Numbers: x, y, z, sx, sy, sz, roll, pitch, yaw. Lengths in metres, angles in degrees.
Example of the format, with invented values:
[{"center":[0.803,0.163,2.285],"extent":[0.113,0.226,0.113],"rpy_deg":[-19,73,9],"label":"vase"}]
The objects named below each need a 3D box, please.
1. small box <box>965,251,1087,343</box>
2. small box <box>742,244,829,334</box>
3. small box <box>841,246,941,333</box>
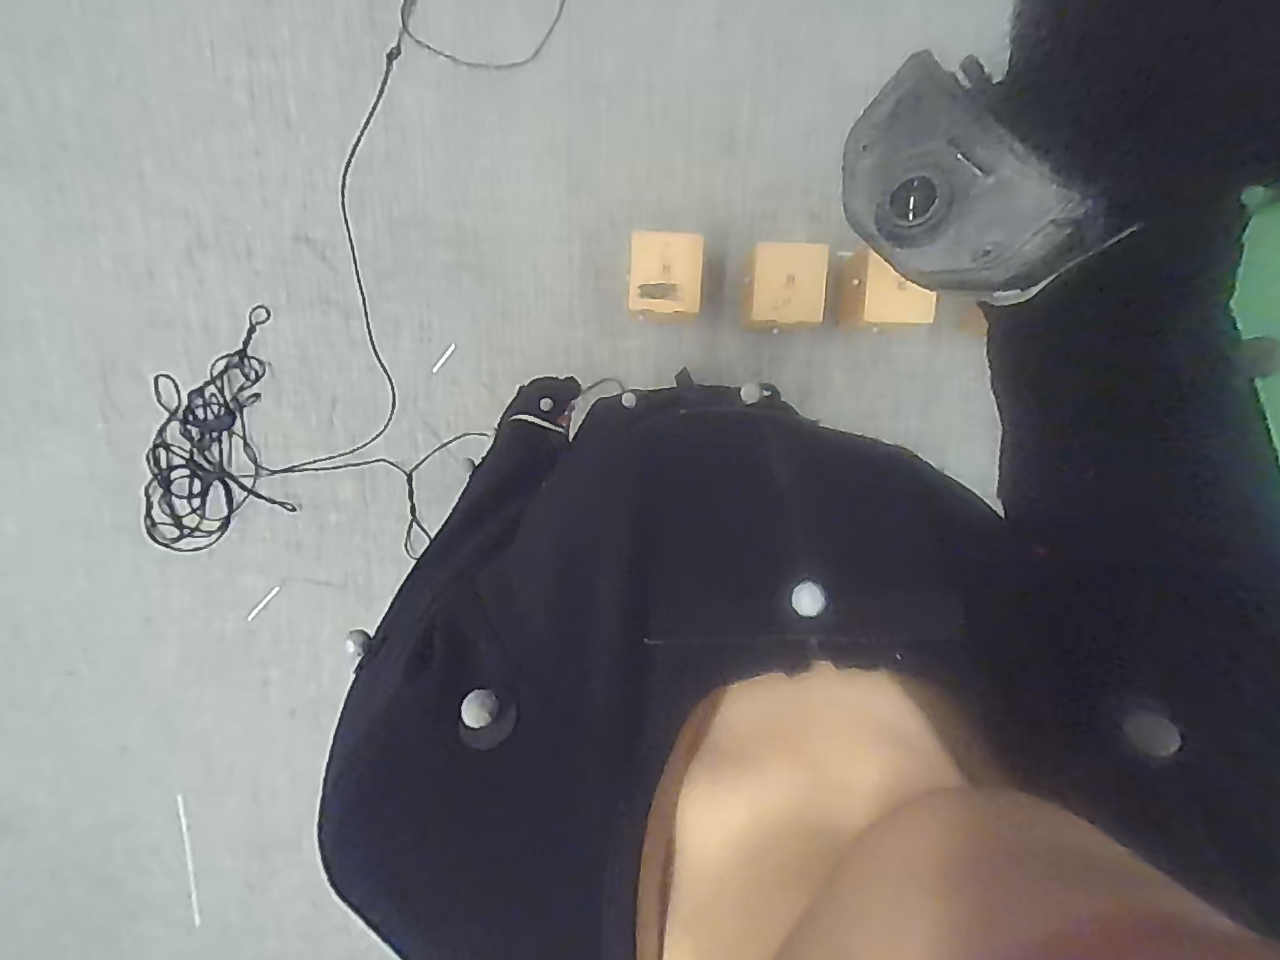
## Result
[{"center":[0.928,-0.439,1.317],"extent":[0.168,0.176,0.179],"rpy_deg":[5,99,0],"label":"small box"},{"center":[0.346,-0.459,1.317],"extent":[0.168,0.176,0.179],"rpy_deg":[2,98,1],"label":"small box"},{"center":[0.602,-0.456,1.319],"extent":[0.168,0.176,0.179],"rpy_deg":[1,98,0],"label":"small box"}]
